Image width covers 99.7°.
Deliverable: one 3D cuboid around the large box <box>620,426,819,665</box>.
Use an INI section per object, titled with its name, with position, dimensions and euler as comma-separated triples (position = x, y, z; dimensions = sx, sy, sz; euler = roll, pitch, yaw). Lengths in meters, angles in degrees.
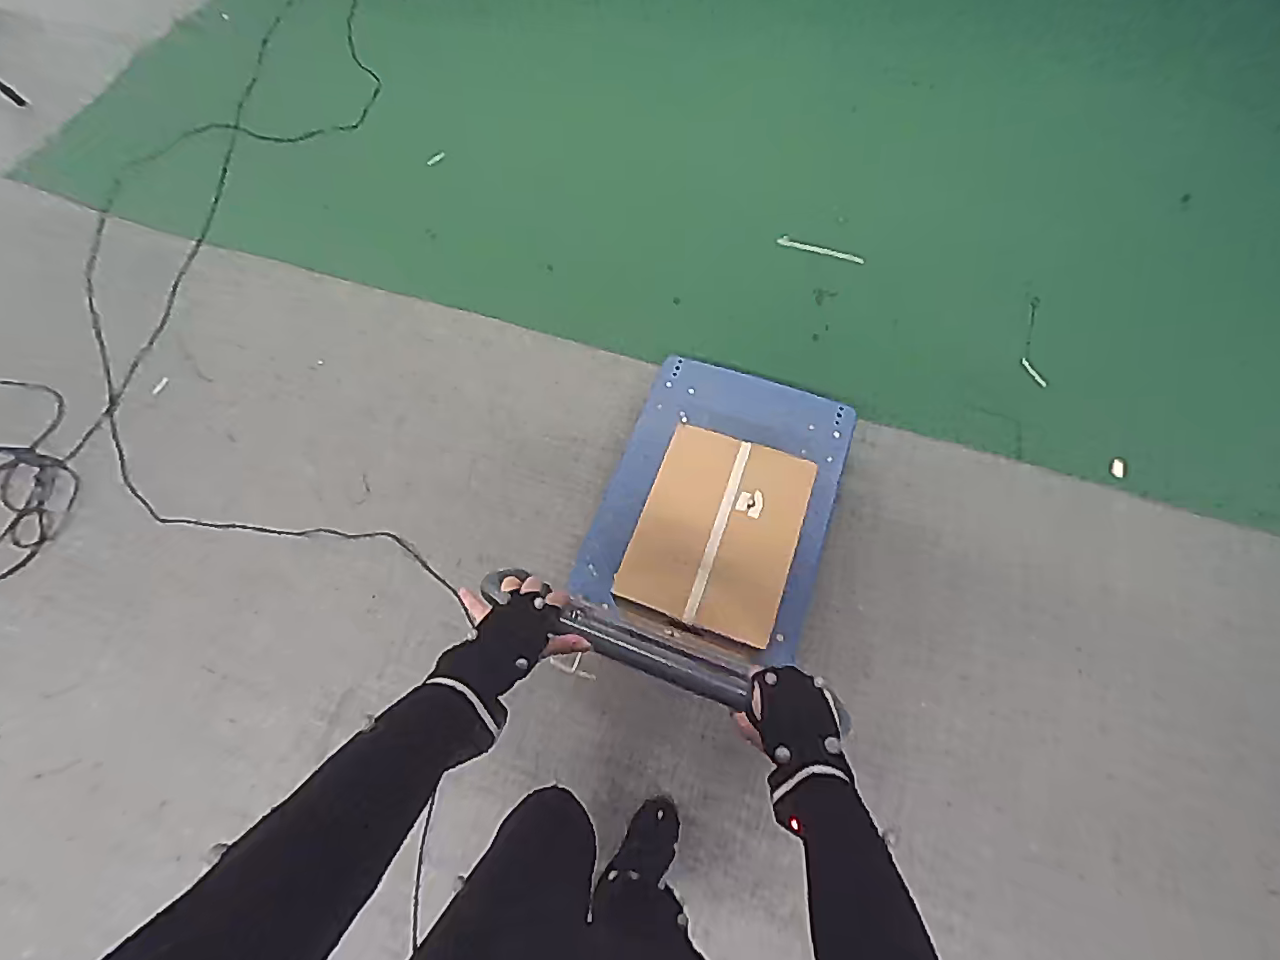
[large box]
position = 0.175, 0.157, 1.220
dimensions = 0.320, 0.320, 0.408
euler = 19, 68, 10
